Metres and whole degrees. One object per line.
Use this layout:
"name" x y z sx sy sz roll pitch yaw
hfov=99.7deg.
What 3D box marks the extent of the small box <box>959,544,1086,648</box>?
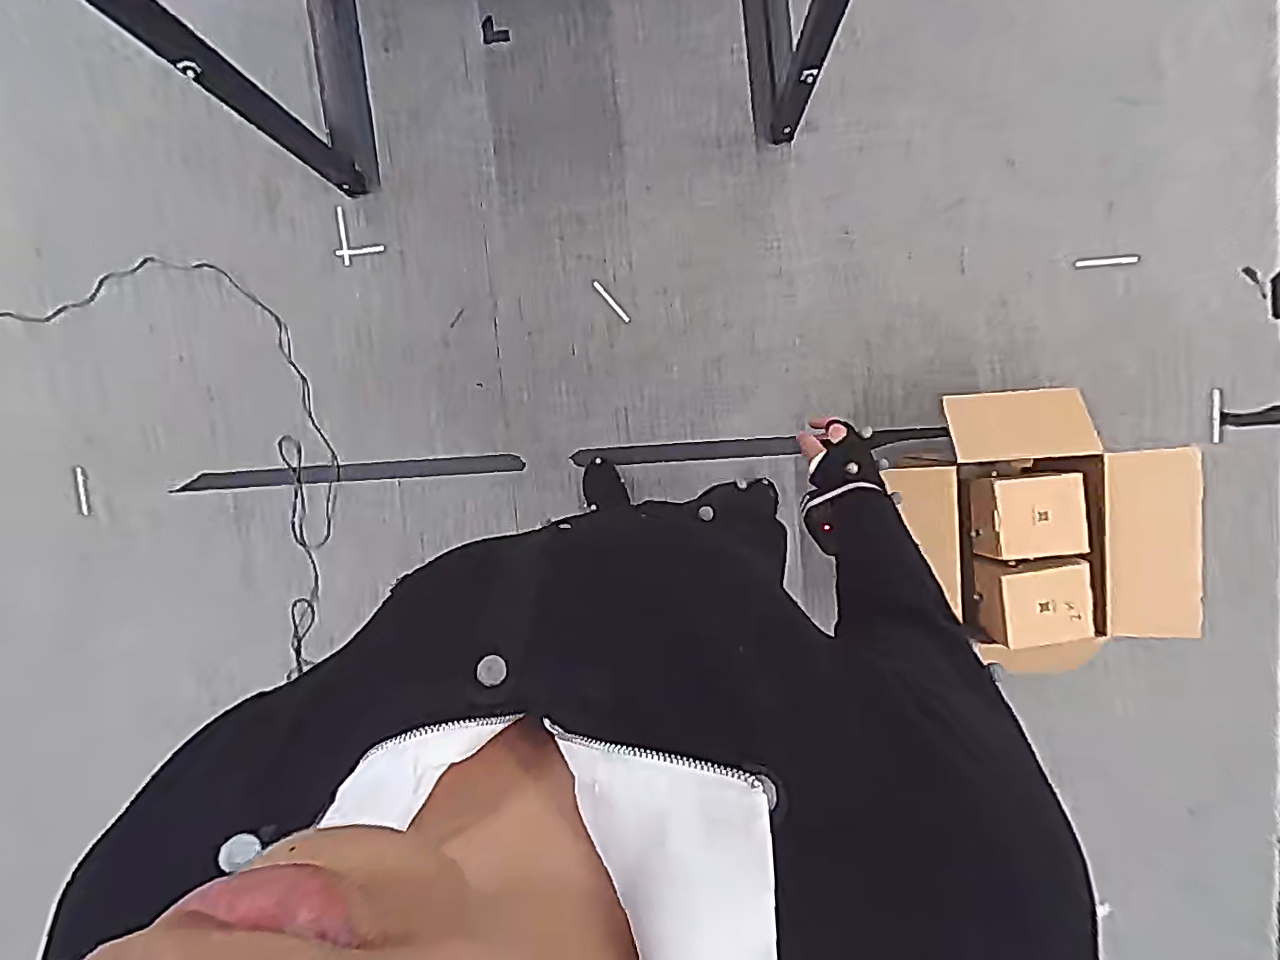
"small box" 0.837 0.251 1.202 0.179 0.176 0.168 -10 98 4
